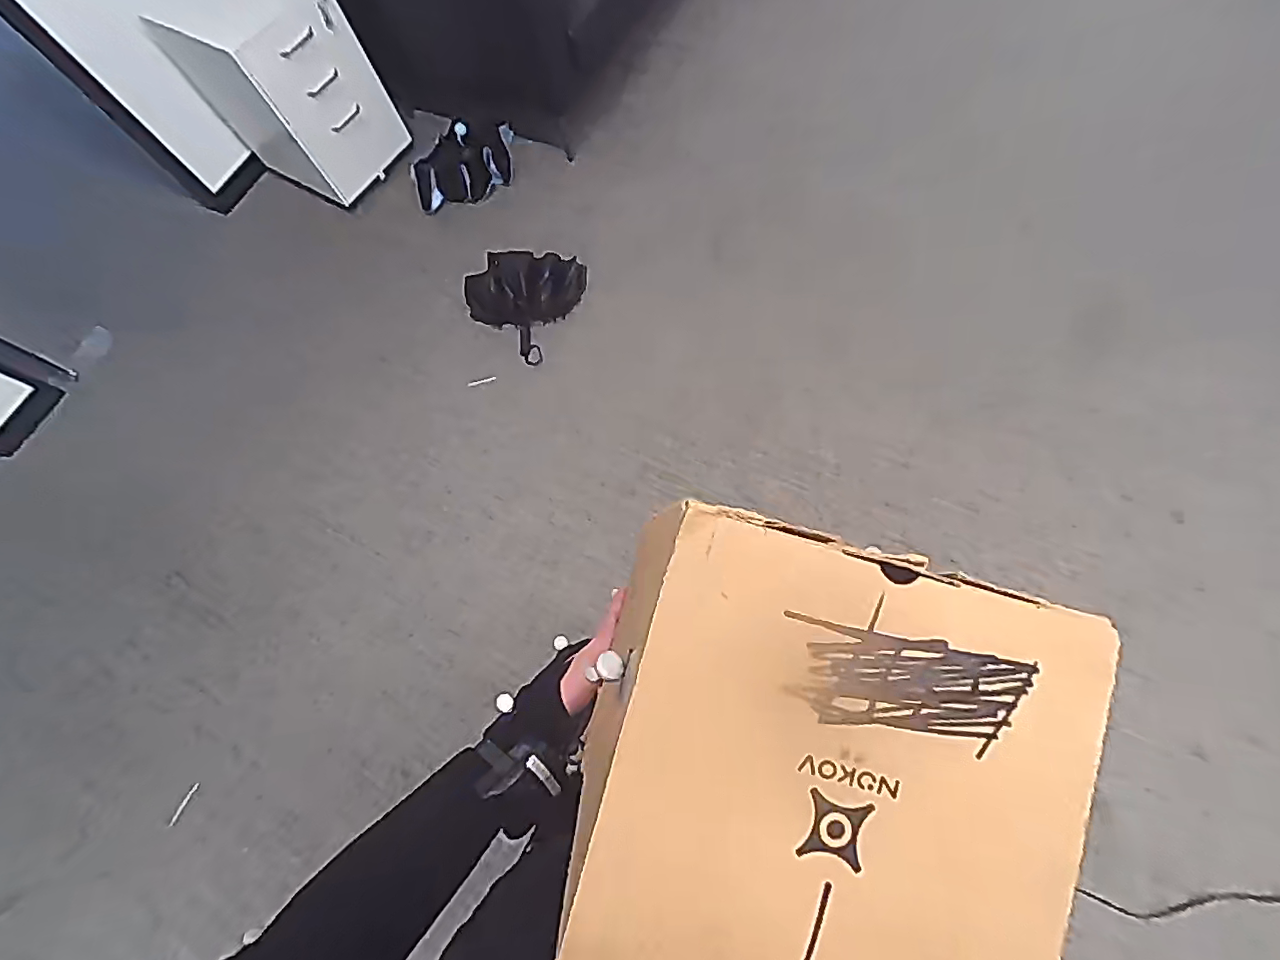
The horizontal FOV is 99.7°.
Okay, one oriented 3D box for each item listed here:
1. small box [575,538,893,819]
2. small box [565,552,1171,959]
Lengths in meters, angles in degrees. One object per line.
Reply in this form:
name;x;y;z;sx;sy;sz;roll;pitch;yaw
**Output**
small box;0.059;0.149;0.410;0.168;0.176;0.179;15;84;0
small box;0.067;0.138;0.246;0.168;0.176;0.179;16;87;0
